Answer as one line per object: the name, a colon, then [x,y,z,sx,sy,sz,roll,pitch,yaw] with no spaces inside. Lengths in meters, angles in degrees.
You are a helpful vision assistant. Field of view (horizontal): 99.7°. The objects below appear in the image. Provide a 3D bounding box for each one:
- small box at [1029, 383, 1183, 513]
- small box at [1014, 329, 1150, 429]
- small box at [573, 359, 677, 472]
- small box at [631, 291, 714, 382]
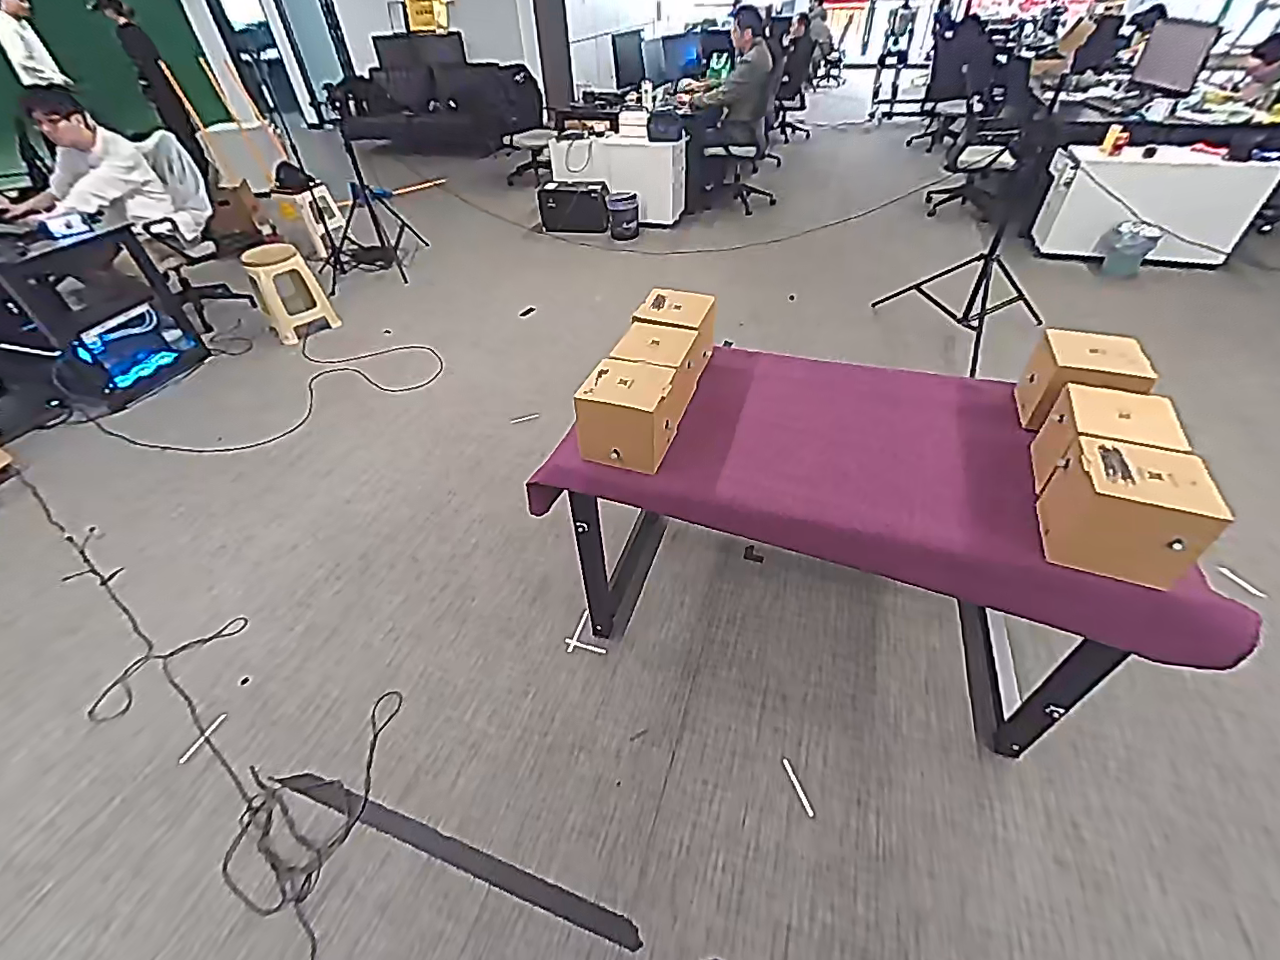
small box: [0.891,-0.062,1.055,0.168,0.176,0.179,15,45,19]
small box: [0.964,-0.212,1.203,0.179,0.176,0.168,13,46,16]
small box: [-0.027,-0.138,1.182,0.179,0.176,0.168,13,44,15]
small box: [0.087,-0.379,1.434,0.179,0.176,0.168,14,47,16]
